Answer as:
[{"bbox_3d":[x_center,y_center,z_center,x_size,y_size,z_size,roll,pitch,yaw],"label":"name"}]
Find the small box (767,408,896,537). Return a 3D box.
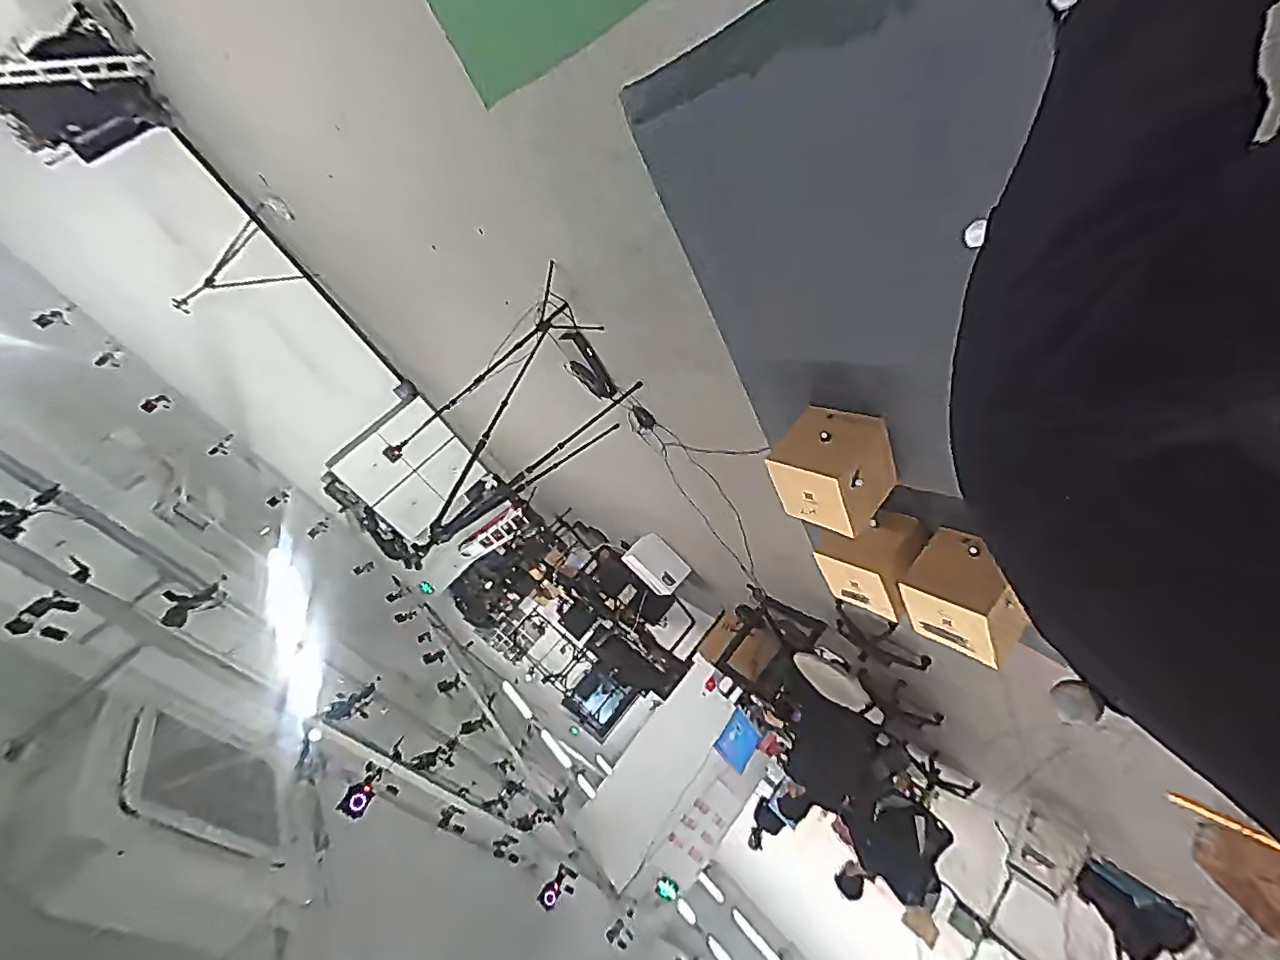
[{"bbox_3d":[0.391,-0.022,1.094,0.168,0.176,0.179,23,153,48],"label":"small box"}]
